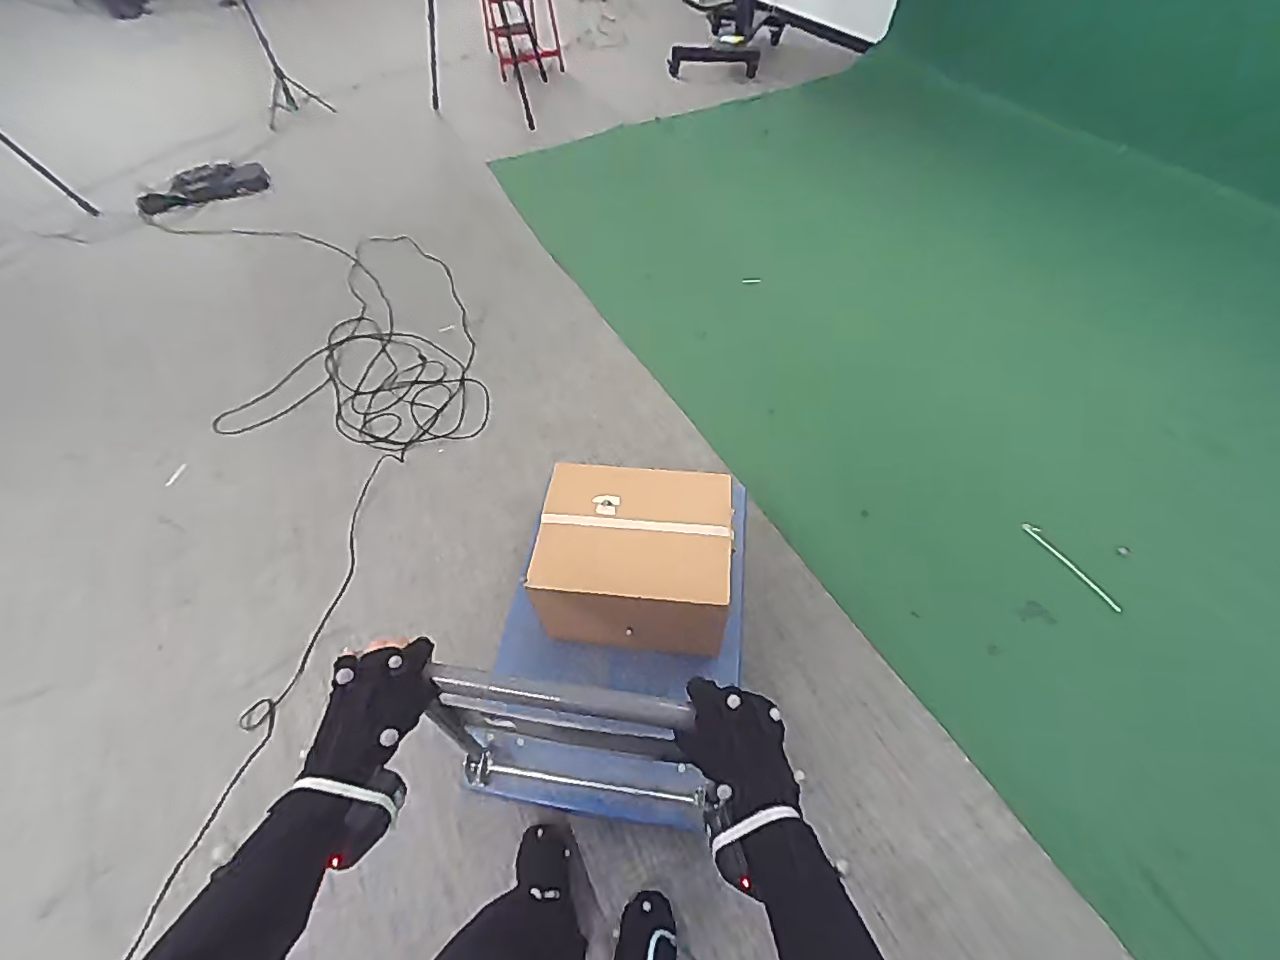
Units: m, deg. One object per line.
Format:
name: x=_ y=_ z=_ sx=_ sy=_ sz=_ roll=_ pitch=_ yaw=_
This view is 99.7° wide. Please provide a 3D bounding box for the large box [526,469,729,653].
large box: x=-0.007 y=0.194 z=1.258 sx=0.408 sy=0.320 sz=0.320 roll=4 pitch=54 yaw=6
